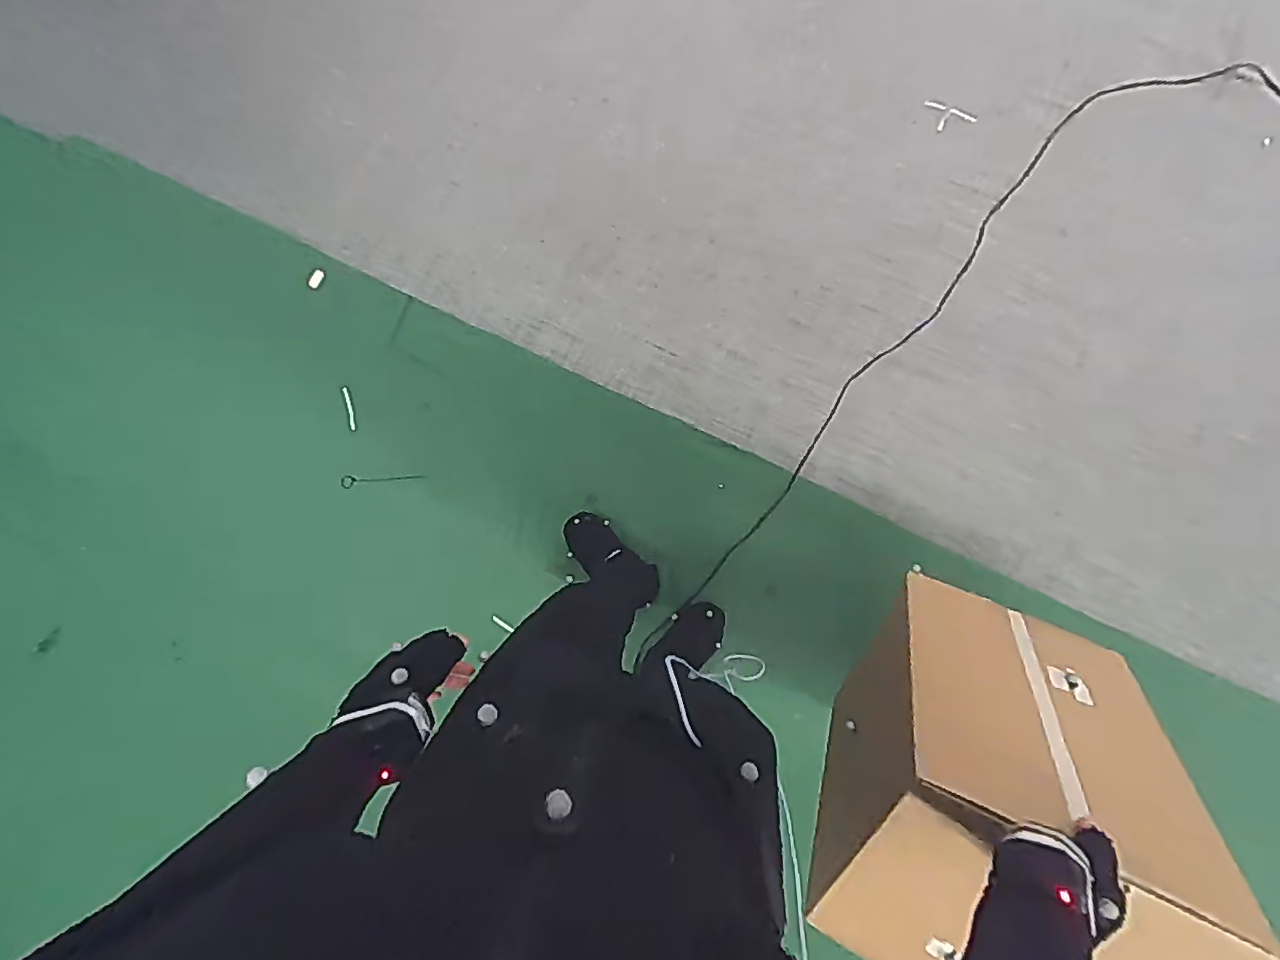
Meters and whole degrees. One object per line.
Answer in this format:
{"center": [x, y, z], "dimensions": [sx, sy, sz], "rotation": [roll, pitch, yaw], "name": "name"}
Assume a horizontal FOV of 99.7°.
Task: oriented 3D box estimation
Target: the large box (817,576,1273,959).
{"center": [0.458, 0.410, 0.740], "dimensions": [0.320, 0.408, 0.320], "rotation": [23, 119, 14], "name": "large box"}
